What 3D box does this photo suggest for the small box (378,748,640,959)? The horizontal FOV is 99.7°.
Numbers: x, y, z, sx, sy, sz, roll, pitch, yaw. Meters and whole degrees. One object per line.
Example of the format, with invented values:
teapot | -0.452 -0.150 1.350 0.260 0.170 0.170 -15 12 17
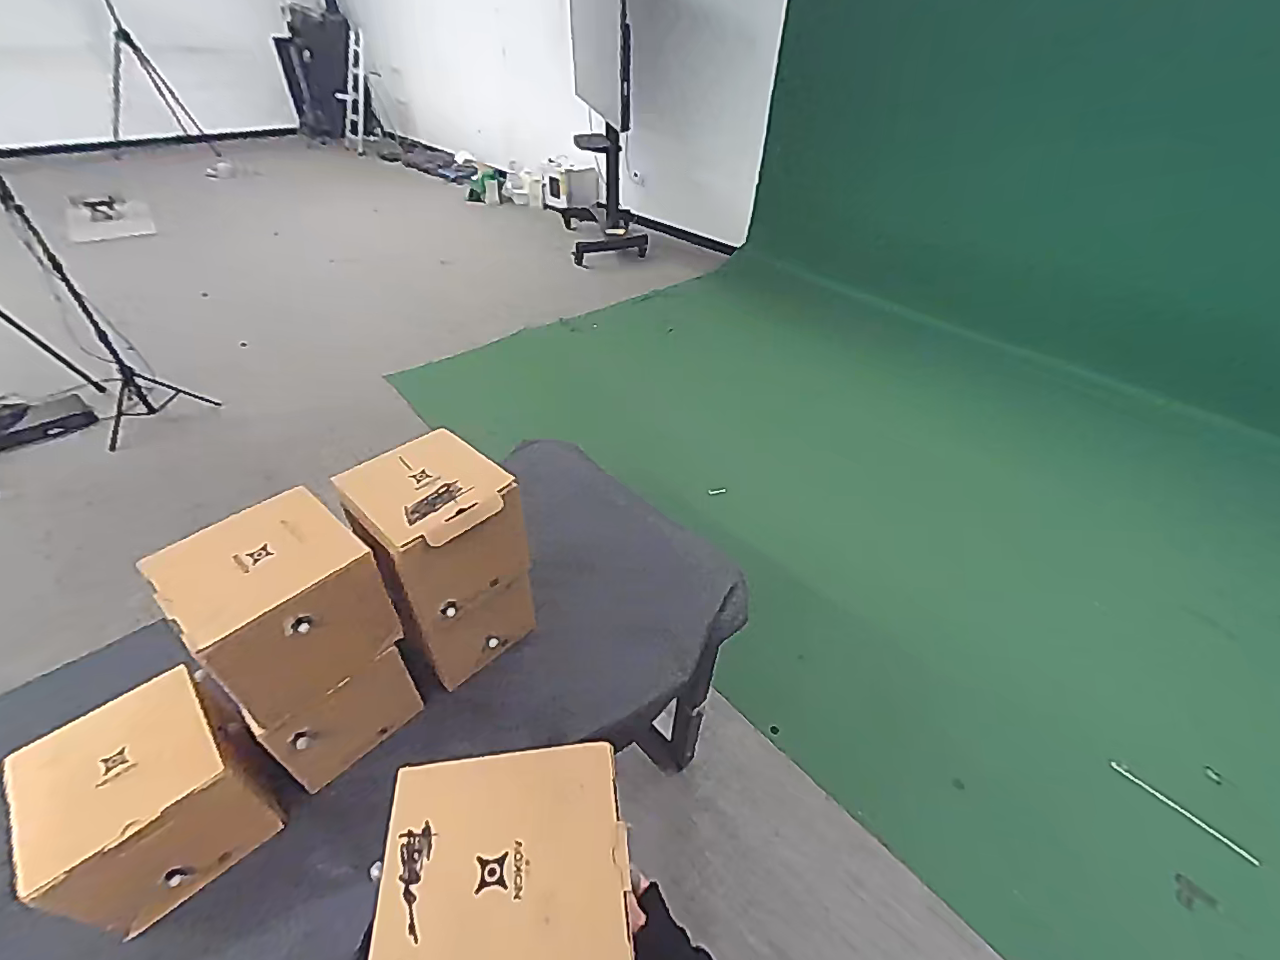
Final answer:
small box | -0.099 0.347 0.454 0.179 0.176 0.168 -3 44 -8
